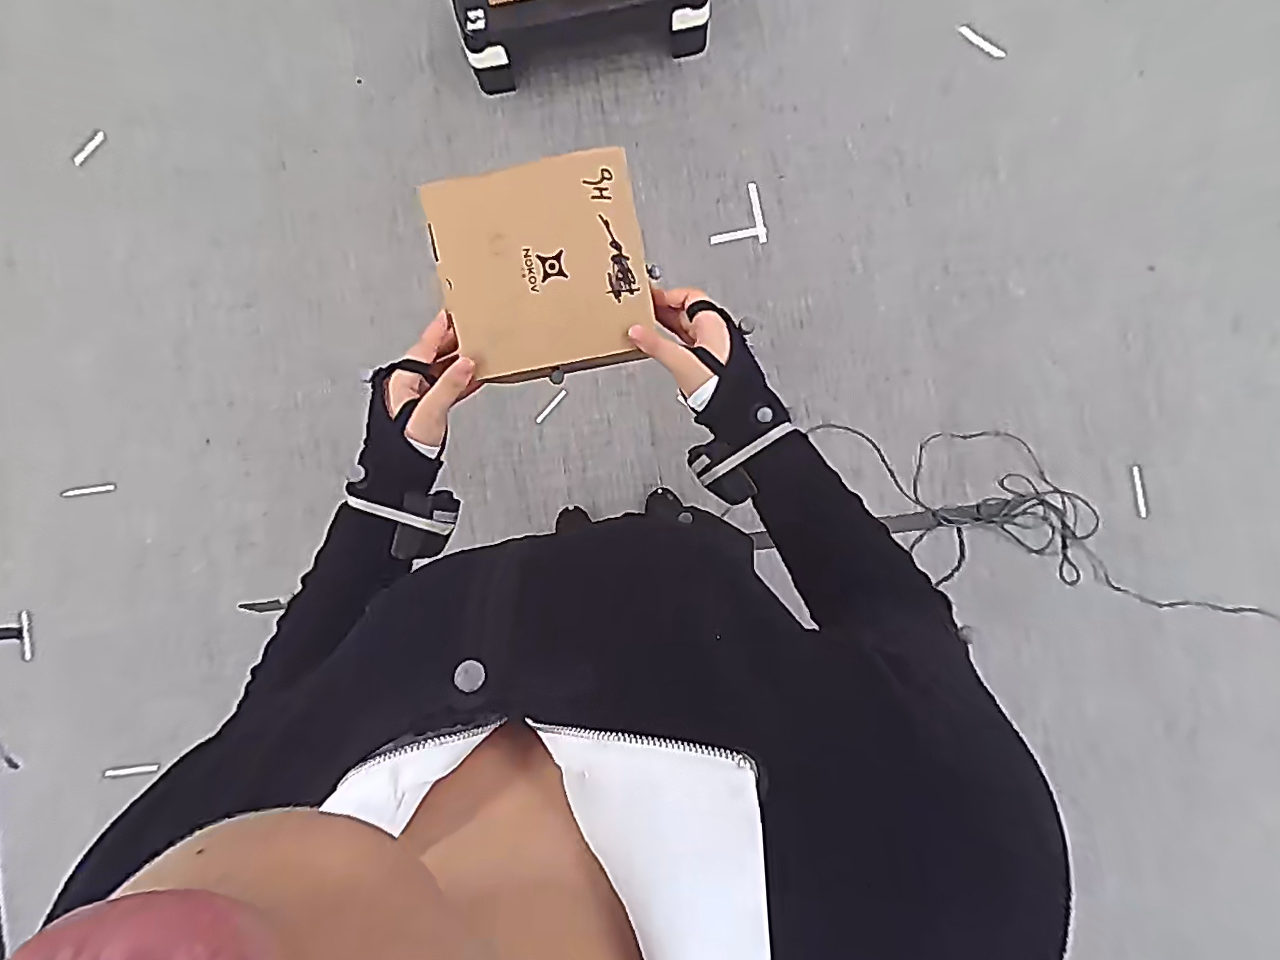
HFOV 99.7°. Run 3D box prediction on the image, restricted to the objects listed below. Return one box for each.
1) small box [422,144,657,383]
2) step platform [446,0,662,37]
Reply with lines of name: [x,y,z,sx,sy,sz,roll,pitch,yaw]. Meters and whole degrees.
small box: [-0.082,-0.192,0.532,0.179,0.176,0.168,-10,99,1]
step platform: [-0.150,-1.288,1.259,0.684,0.204,0.286,-10,87,1]
